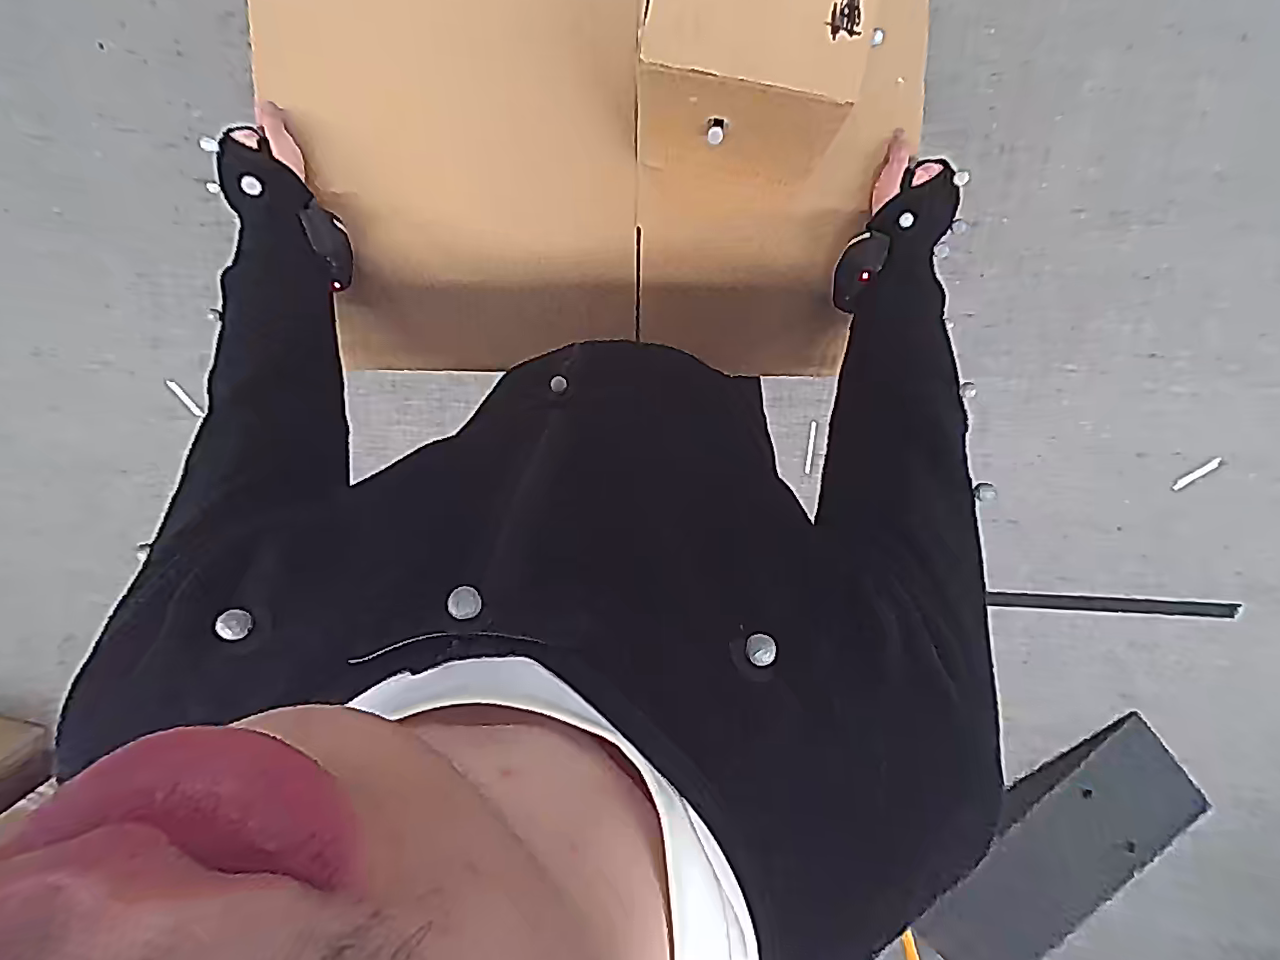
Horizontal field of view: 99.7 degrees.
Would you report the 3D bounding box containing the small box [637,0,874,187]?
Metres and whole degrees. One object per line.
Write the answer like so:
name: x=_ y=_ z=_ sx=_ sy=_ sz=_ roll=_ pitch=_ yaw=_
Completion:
small box: x=0.102 y=-0.399 z=0.499 sx=0.179 sy=0.176 sz=0.168 roll=11 pitch=96 yaw=2
